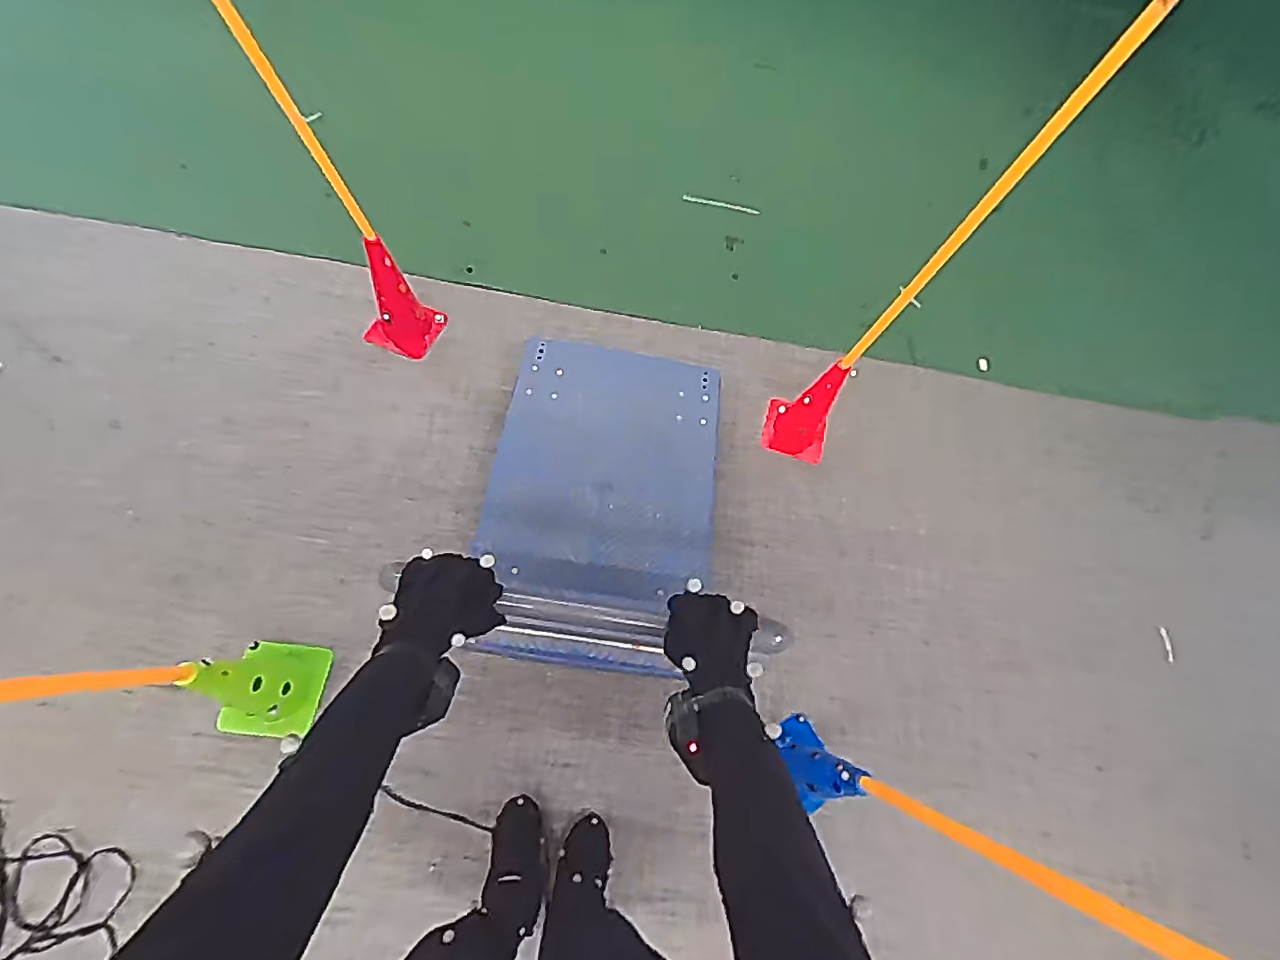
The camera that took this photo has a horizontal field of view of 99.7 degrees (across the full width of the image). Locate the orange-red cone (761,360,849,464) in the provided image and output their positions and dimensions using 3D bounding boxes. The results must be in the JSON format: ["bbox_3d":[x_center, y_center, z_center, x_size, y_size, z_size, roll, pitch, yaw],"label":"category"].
[{"bbox_3d":[0.523,-0.230,1.604,0.198,0.360,0.199,19,64,2],"label":"orange-red cone"}]
